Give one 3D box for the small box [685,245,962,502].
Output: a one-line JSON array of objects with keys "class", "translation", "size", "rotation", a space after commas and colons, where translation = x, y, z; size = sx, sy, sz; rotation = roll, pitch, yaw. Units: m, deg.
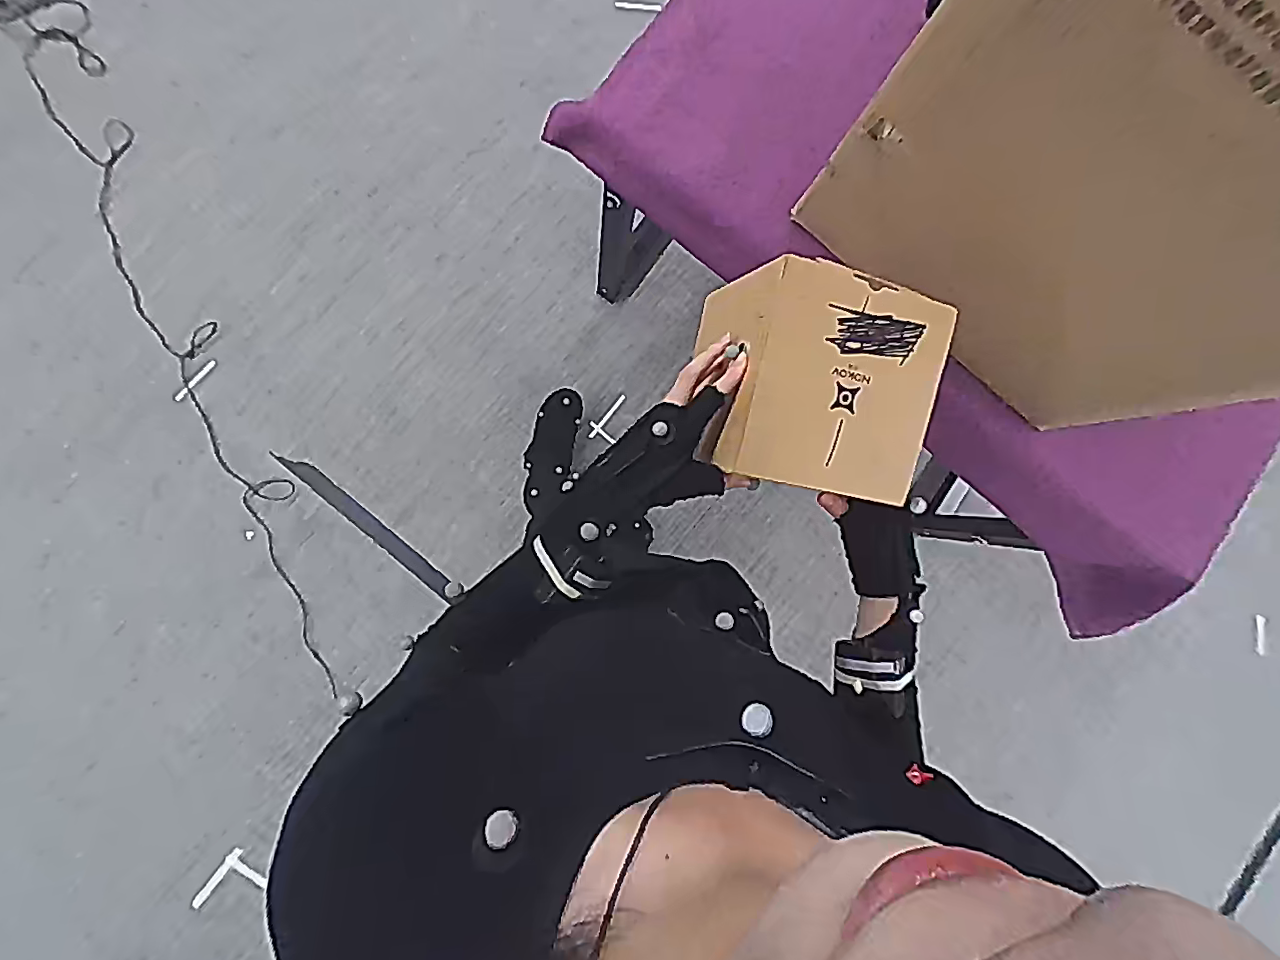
[{"class": "small box", "translation": [0.155, -0.089, 0.510], "size": [0.168, 0.176, 0.179], "rotation": [10, 94, -15]}]
